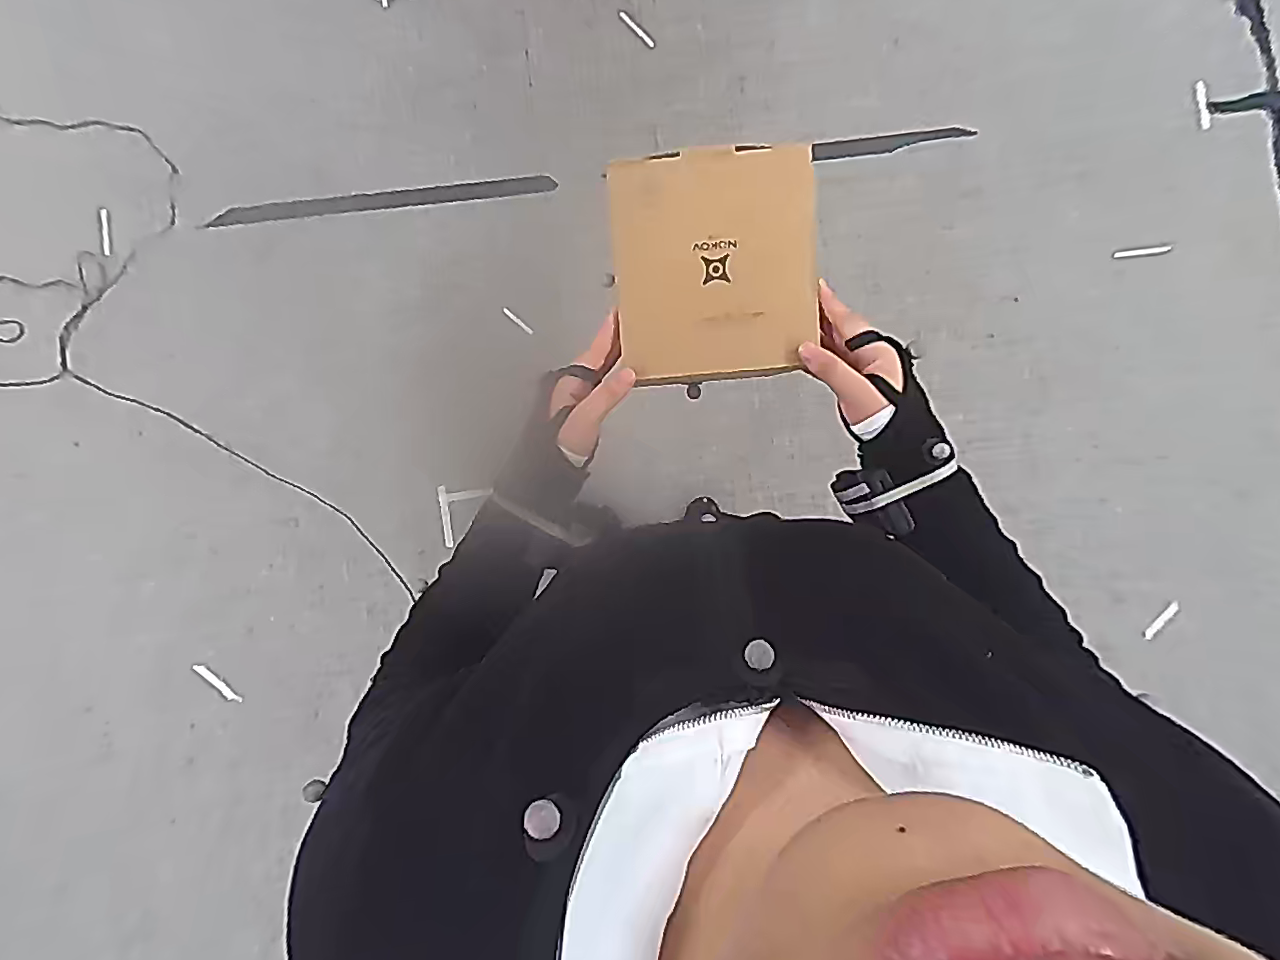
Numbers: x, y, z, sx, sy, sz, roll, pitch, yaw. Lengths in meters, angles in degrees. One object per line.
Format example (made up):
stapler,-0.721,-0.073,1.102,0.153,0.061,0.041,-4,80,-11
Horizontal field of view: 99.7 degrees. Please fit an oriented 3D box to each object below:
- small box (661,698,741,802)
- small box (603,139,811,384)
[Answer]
small box,0.141,0.640,1.304,0.168,0.176,0.179,-5,88,1
small box,0.055,-0.190,0.519,0.168,0.176,0.179,-5,98,1
